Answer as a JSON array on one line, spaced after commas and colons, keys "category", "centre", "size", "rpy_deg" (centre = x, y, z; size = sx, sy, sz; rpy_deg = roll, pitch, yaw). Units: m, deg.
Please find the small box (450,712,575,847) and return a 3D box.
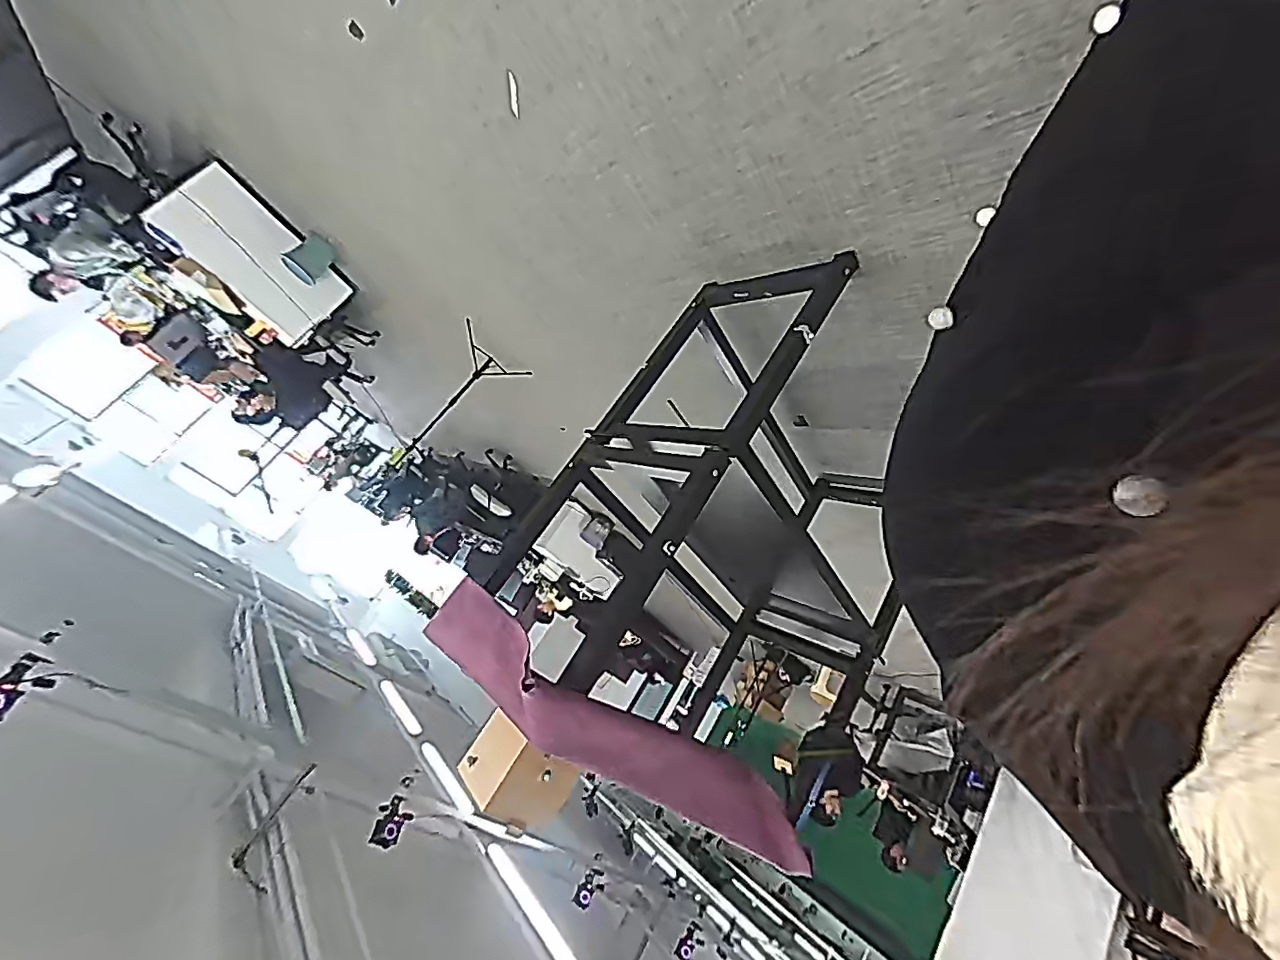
[{"category": "small box", "centre": [-0.267, 0.621, 1.147], "size": [0.168, 0.176, 0.179], "rpy_deg": [44, 159, -28]}]
